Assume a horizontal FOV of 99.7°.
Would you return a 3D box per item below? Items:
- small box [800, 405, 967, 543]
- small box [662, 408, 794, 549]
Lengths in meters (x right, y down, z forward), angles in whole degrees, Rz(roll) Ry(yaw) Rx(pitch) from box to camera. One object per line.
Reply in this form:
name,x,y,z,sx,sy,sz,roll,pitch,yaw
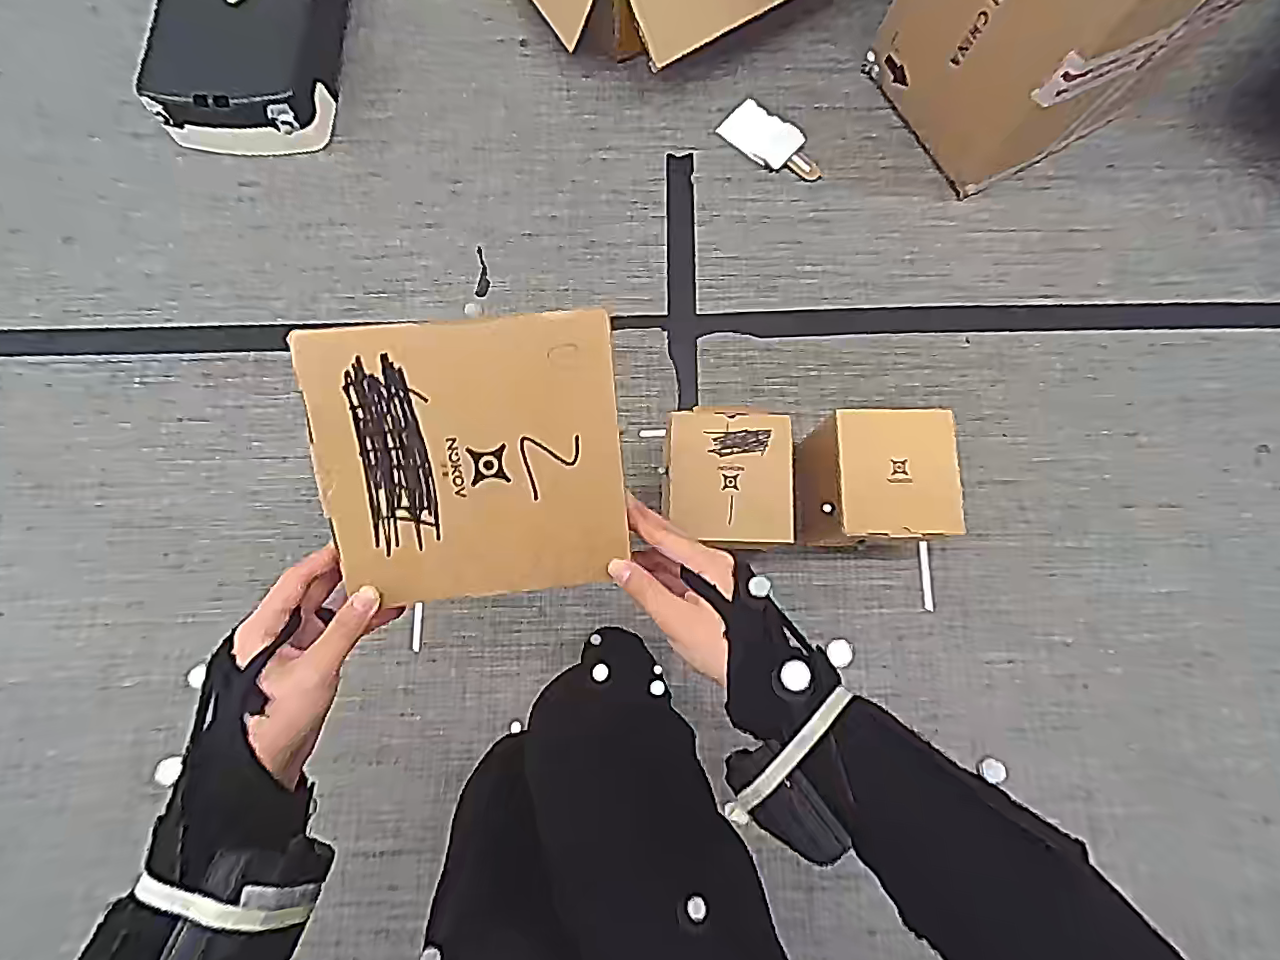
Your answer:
small box,0.346,-0.001,0.801,0.168,0.176,0.179,0,80,-2
small box,0.119,0.006,0.791,0.168,0.176,0.179,2,80,-1
